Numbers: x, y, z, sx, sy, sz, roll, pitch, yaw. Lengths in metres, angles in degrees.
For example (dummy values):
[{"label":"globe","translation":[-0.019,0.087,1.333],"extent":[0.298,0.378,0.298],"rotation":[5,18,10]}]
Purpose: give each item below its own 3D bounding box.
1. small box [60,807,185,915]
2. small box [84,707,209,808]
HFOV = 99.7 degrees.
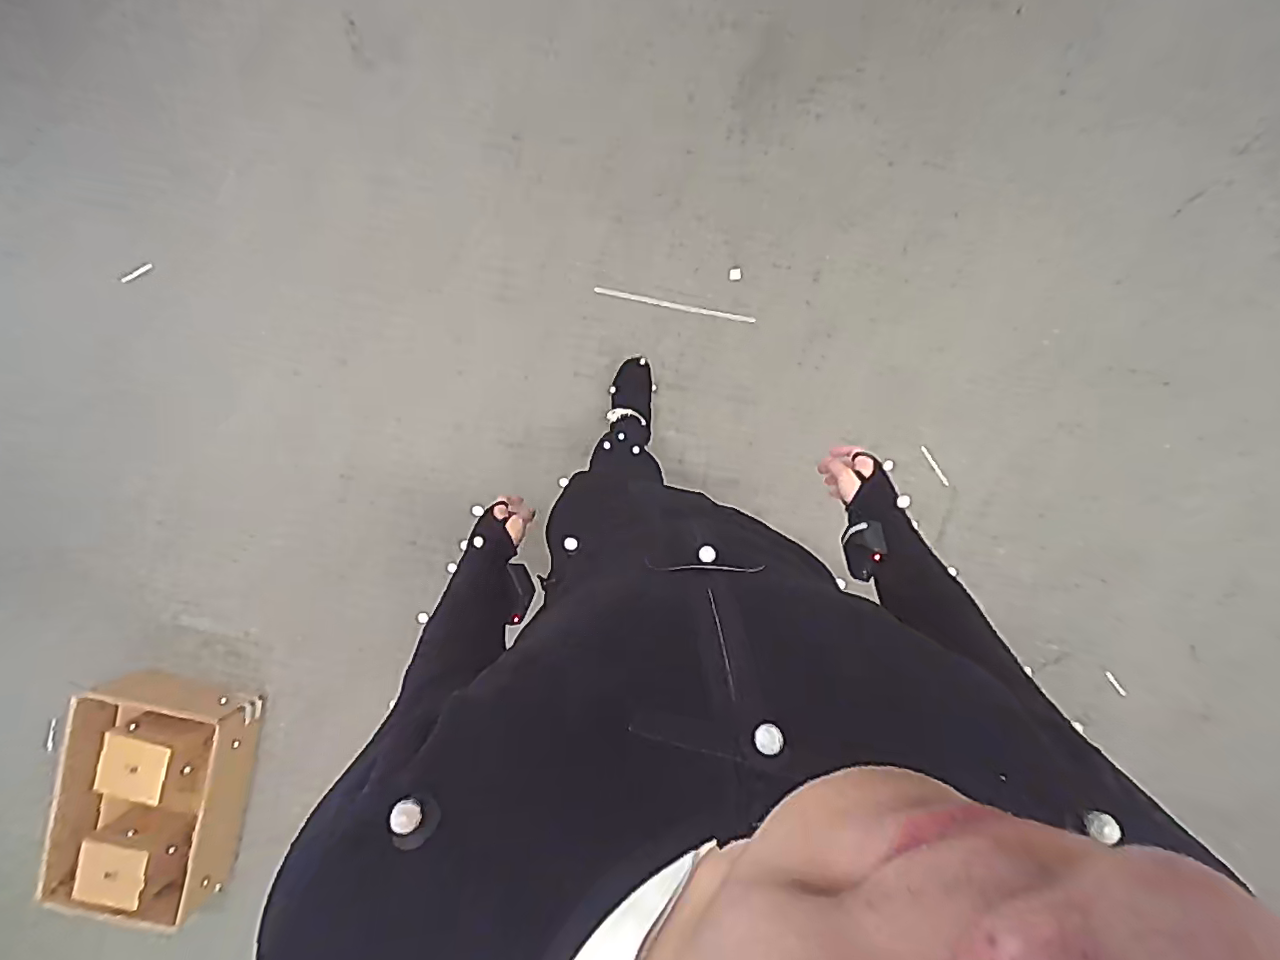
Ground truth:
[{"label":"small box","translation":[-1.422,1.045,1.498],"extent":[0.179,0.176,0.168],"rotation":[13,91,-1]},{"label":"small box","translation":[-1.348,0.754,1.489],"extent":[0.179,0.176,0.168],"rotation":[16,92,-1]}]
